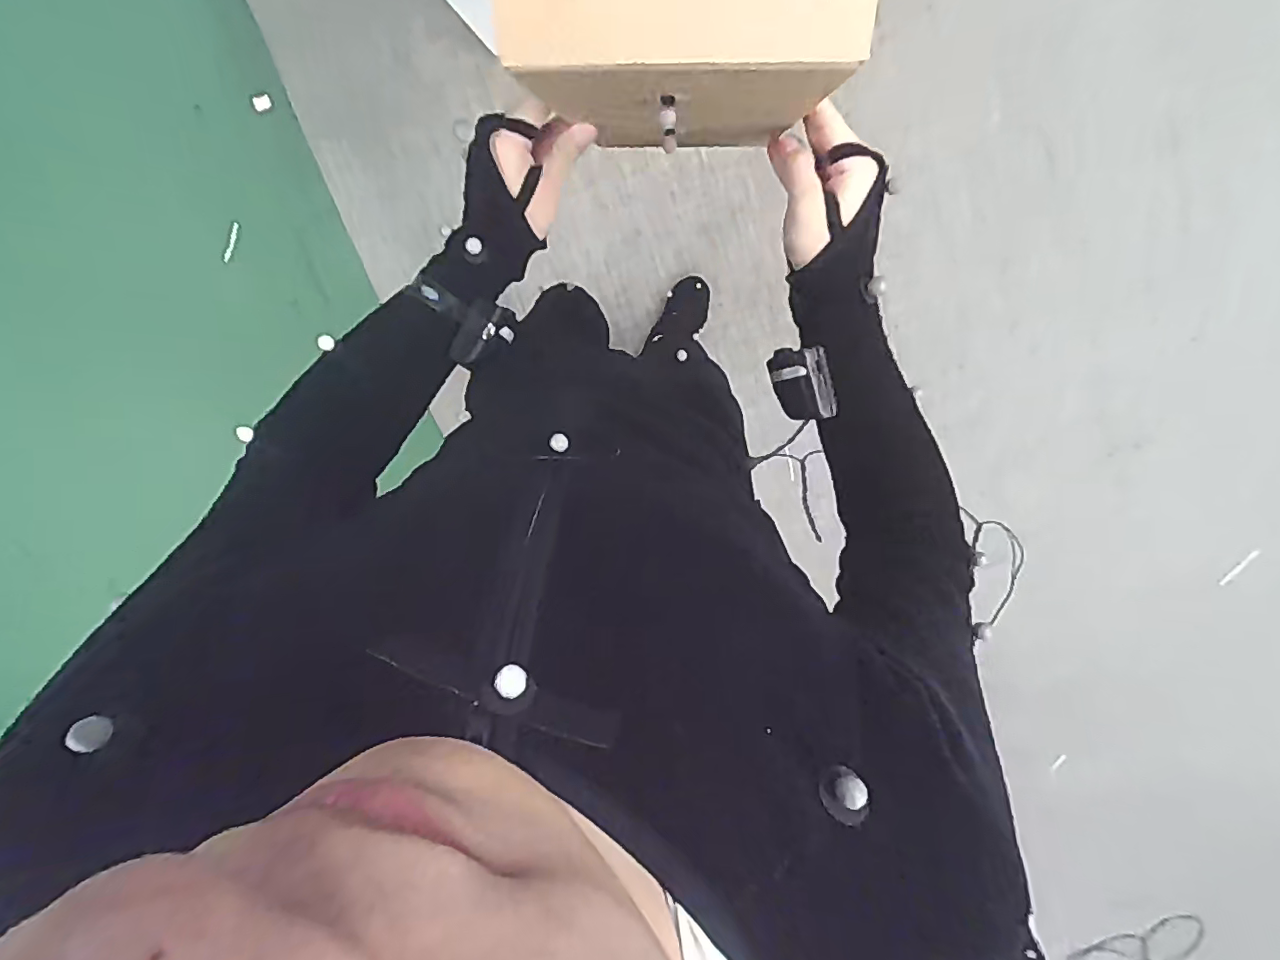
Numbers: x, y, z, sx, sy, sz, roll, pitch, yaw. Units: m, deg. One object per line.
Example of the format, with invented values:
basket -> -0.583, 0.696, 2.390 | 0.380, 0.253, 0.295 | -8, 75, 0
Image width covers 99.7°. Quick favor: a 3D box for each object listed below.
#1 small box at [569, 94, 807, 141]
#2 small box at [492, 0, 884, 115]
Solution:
small box -> 0.040, -0.376, 0.430 | 0.179, 0.176, 0.168 | 2, 116, 4
small box -> 0.026, -0.304, 0.282 | 0.179, 0.176, 0.168 | 3, 115, 5
